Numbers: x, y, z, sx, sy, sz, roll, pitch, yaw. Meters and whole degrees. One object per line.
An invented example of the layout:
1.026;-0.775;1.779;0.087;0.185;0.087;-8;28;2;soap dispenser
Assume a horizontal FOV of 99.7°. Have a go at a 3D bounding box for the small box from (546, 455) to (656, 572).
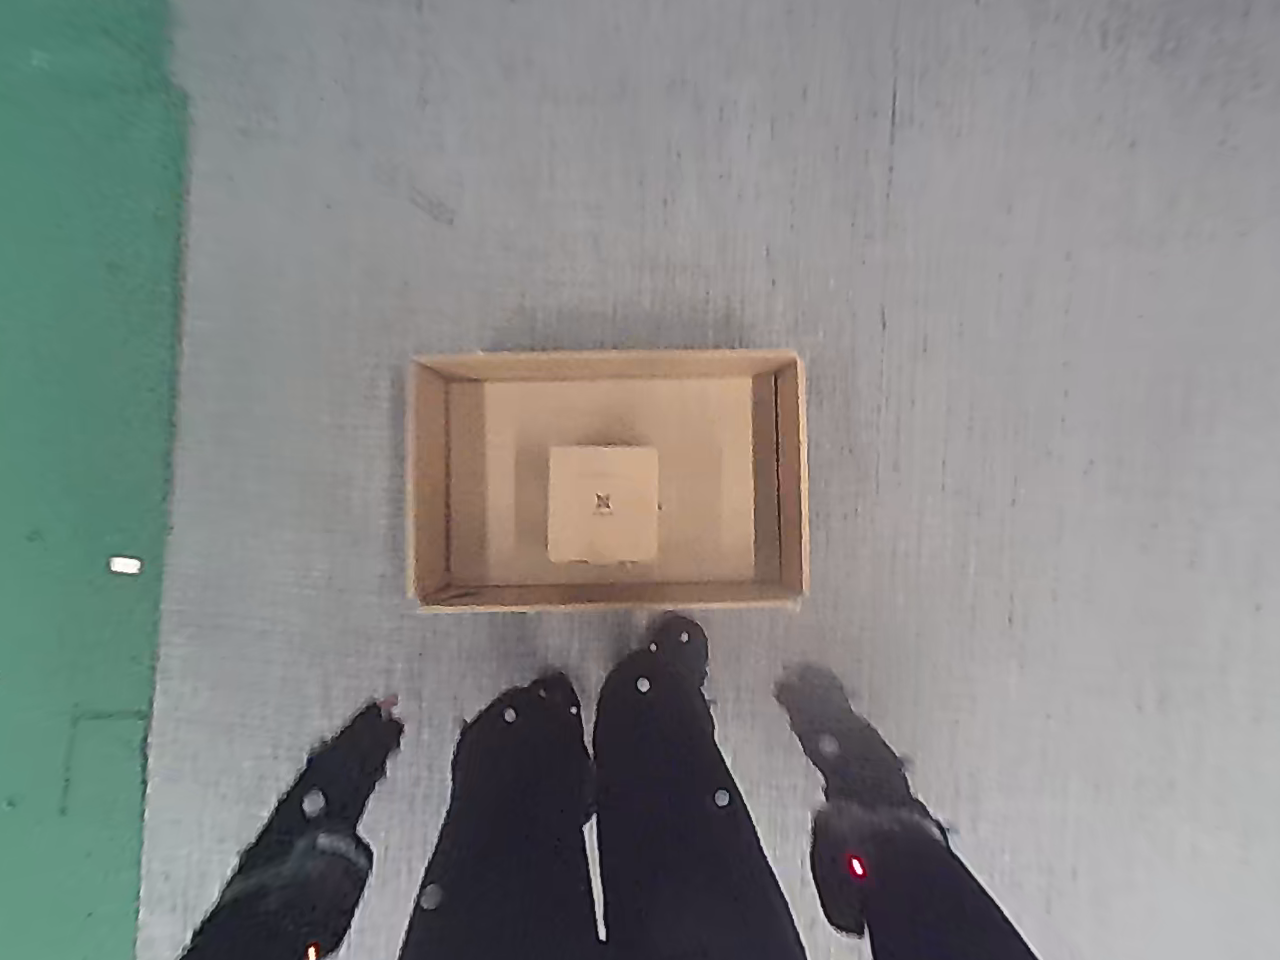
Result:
-0.059;0.054;0.894;0.168;0.176;0.179;1;86;-1;small box
